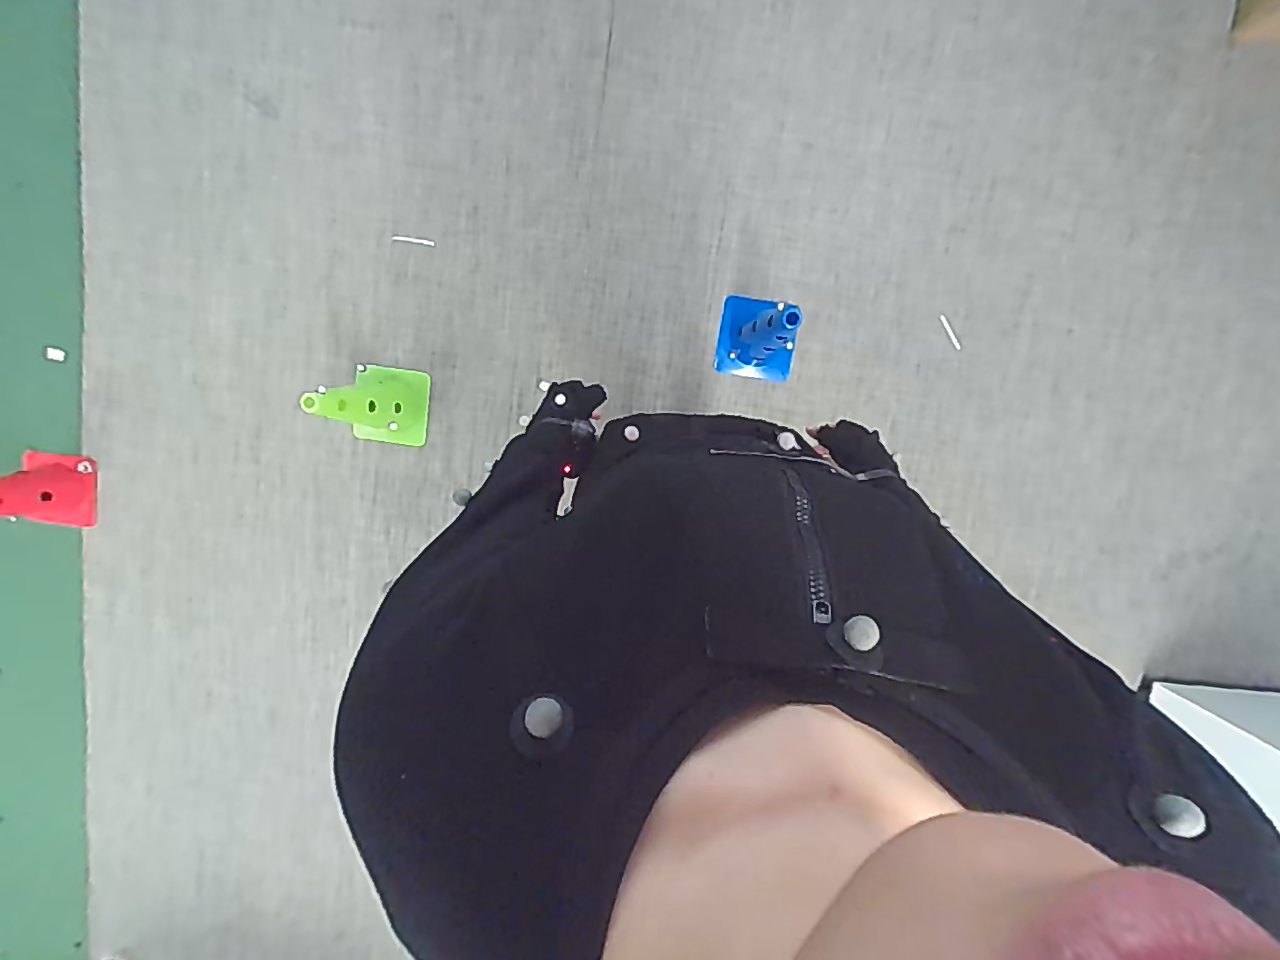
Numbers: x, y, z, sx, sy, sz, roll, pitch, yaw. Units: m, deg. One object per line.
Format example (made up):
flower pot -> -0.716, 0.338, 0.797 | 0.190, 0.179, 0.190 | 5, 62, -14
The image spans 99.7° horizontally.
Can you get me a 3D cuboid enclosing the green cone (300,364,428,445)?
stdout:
green cone -> -0.674, -0.178, 1.275 | 0.202, 0.368, 0.200 | 7, 98, 0
